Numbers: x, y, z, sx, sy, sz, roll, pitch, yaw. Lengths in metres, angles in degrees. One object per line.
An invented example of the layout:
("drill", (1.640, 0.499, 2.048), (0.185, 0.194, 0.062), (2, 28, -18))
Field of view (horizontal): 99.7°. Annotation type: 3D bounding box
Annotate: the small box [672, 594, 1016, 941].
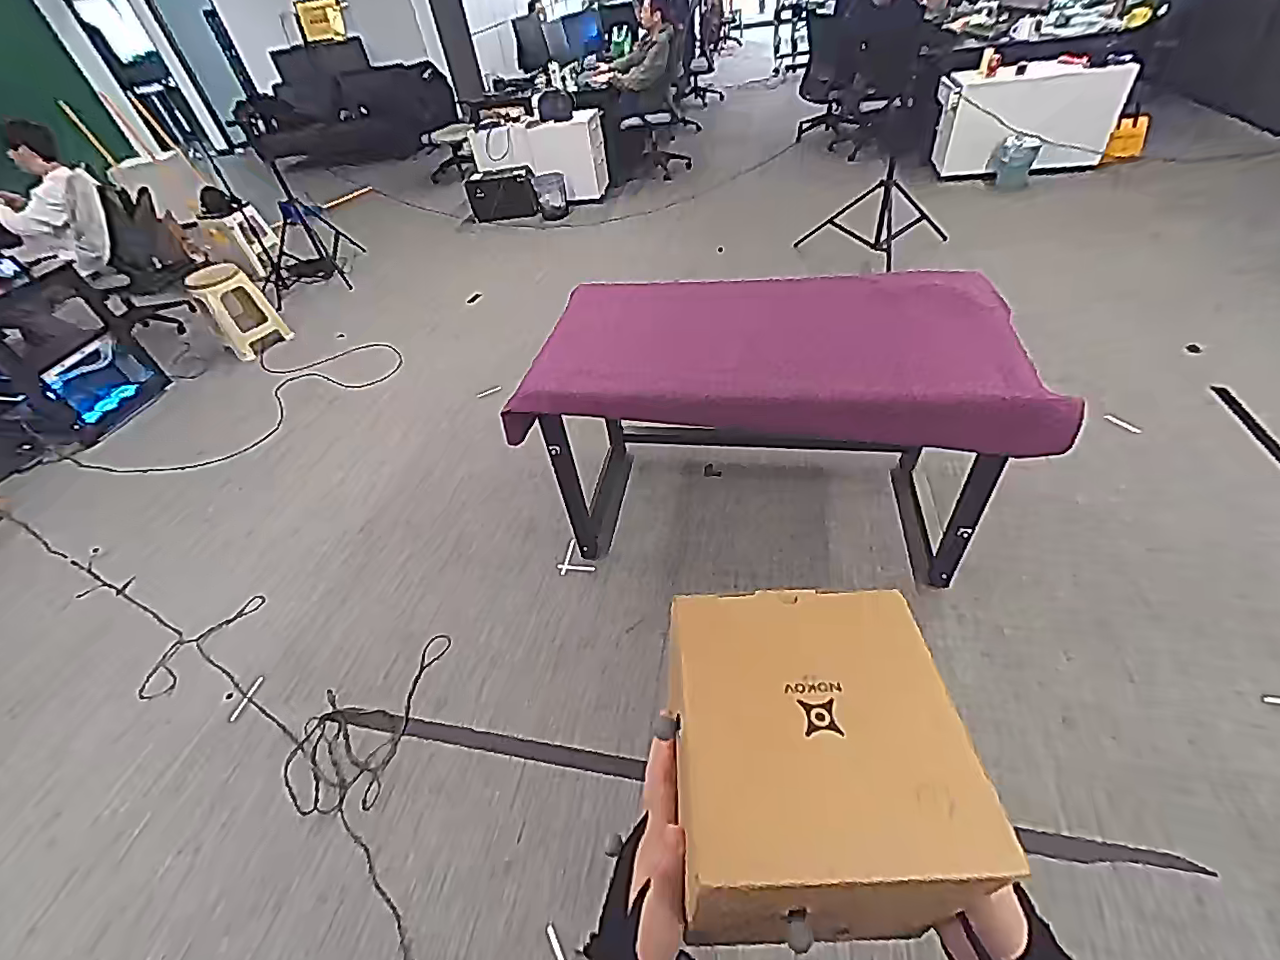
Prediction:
("small box", (0.110, 0.204, 0.385), (0.168, 0.176, 0.179), (-2, 40, -1))
